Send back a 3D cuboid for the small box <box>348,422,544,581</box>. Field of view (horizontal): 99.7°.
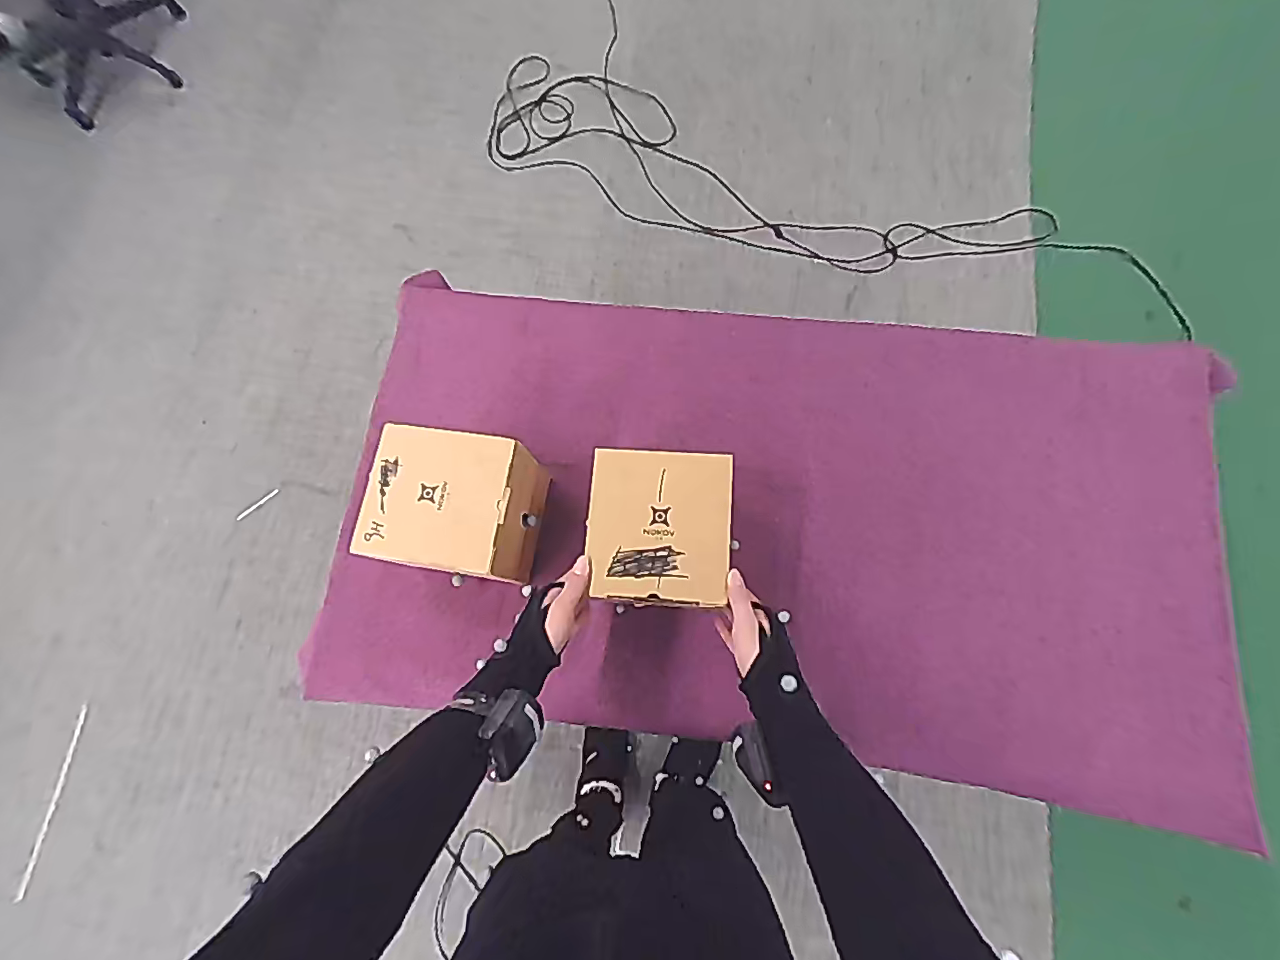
[{"bbox_3d":[-0.237,0.038,0.715,0.179,0.176,0.168,8,76,5],"label":"small box"}]

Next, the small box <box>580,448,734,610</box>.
[{"bbox_3d":[0.027,0.071,0.689,0.168,0.176,0.179,3,75,5],"label":"small box"}]
